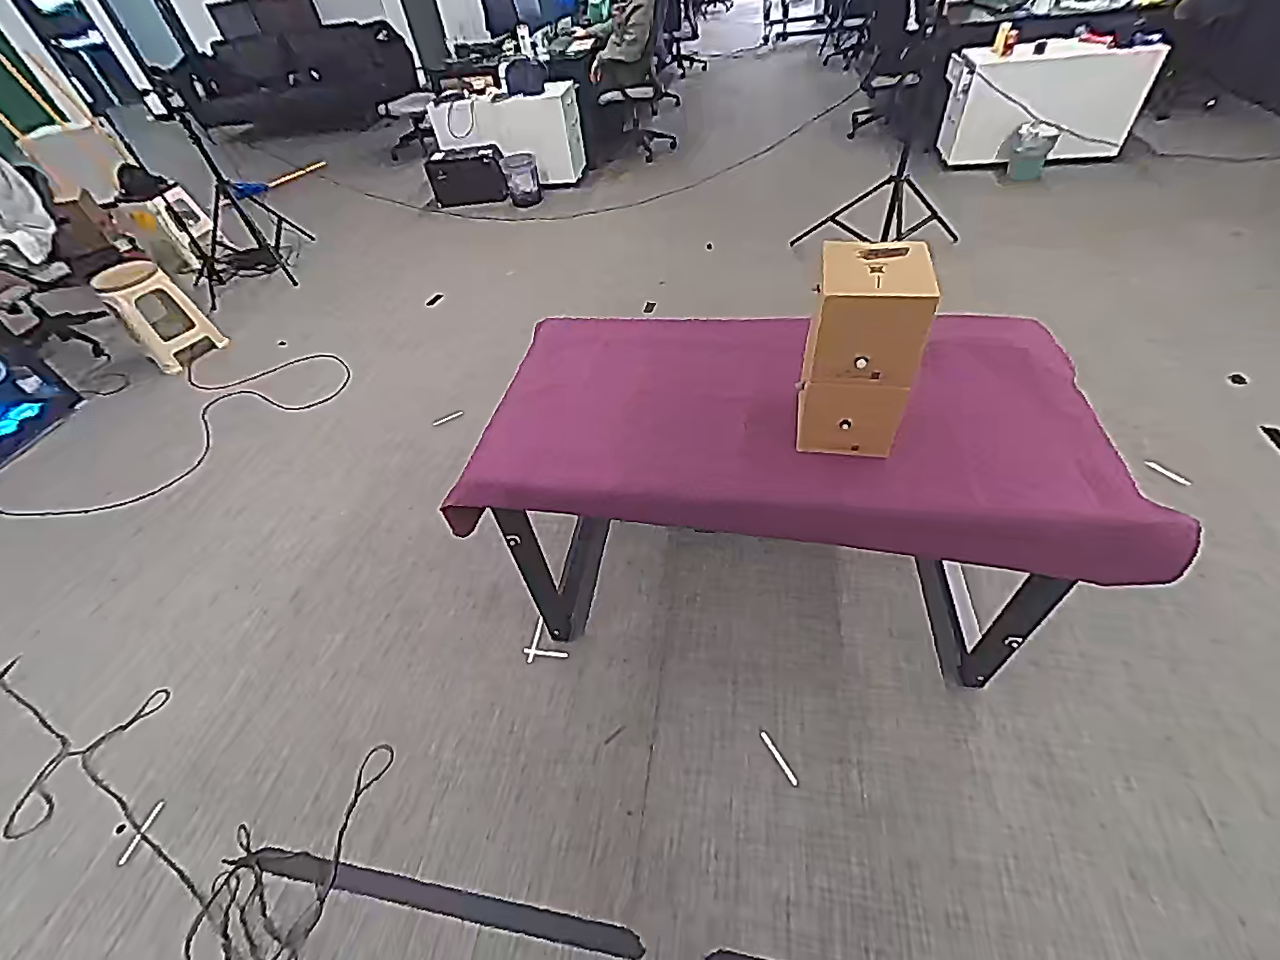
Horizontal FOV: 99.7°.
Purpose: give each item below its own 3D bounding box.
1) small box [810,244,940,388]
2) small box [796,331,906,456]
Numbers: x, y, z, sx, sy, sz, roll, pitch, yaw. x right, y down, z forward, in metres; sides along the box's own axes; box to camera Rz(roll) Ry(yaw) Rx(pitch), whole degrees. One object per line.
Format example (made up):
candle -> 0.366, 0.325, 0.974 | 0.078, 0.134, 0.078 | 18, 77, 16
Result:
small box -> 0.383, -0.278, 0.915 | 0.168, 0.176, 0.179 | 5, 49, 12
small box -> 0.395, -0.164, 1.033 | 0.168, 0.176, 0.179 | 6, 48, 12
